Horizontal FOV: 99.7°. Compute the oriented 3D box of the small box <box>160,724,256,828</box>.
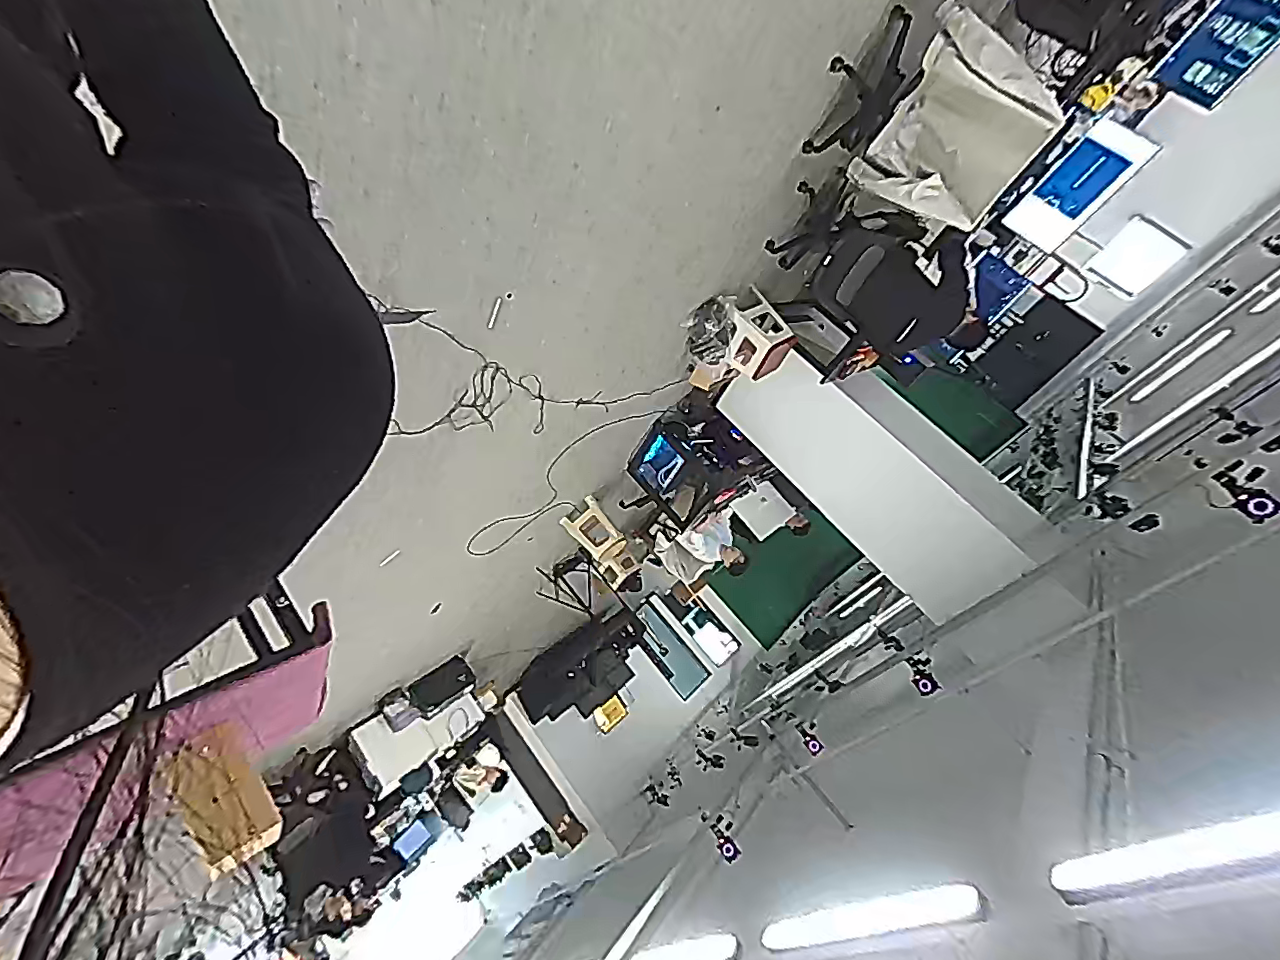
[{"bbox_3d":[-1.210,0.823,1.516,0.168,0.176,0.179,-22,154,-49],"label":"small box"}]

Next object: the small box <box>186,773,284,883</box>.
[{"bbox_3d":[-1.104,0.939,1.470,0.168,0.176,0.179,-22,154,-50],"label":"small box"}]
